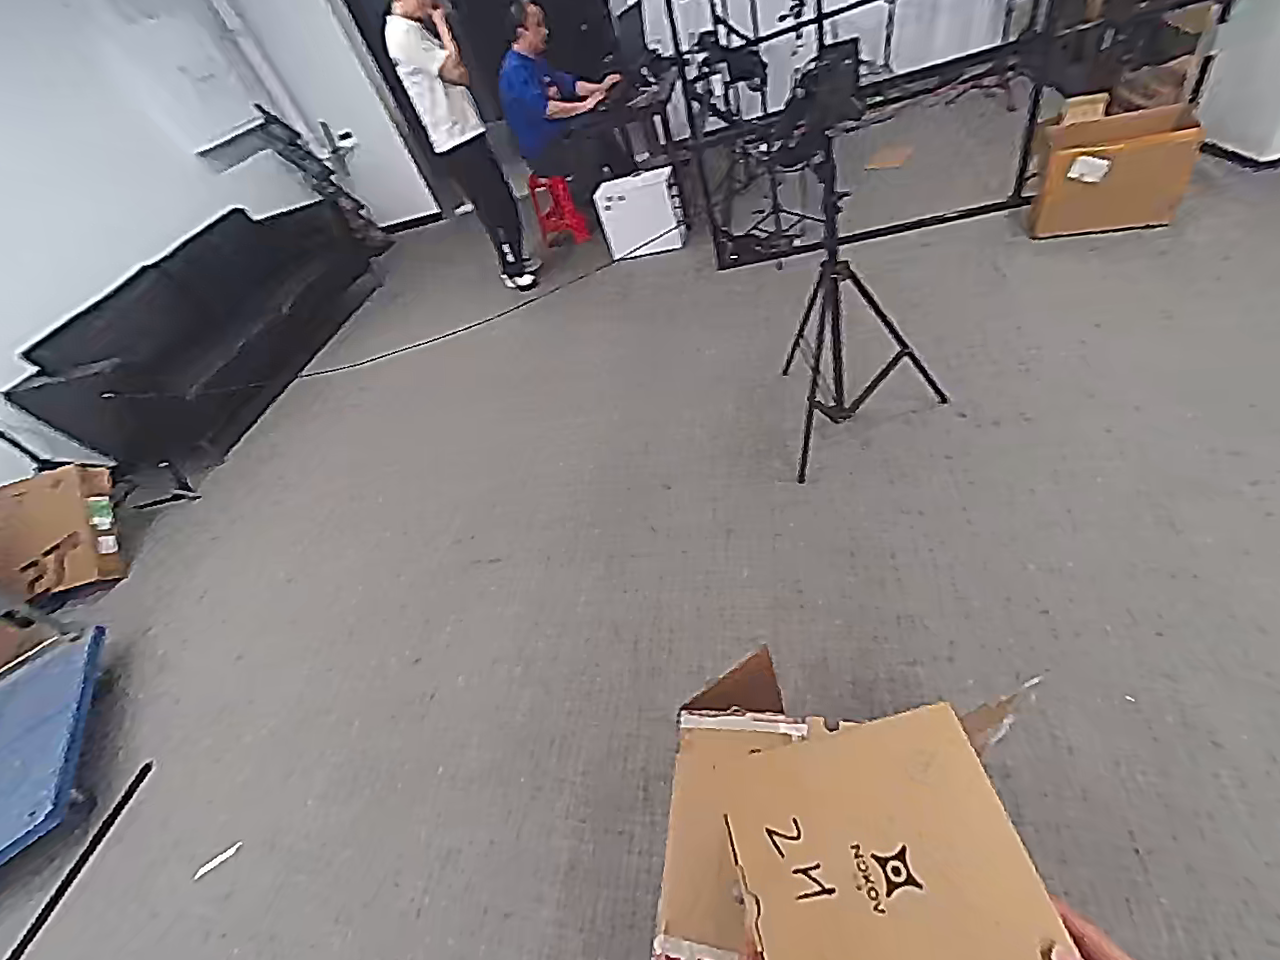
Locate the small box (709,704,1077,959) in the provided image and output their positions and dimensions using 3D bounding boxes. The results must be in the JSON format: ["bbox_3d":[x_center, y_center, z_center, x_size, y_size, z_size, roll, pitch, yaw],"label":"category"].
[{"bbox_3d":[0.161,0.283,0.400,0.179,0.176,0.168,-17,56,3],"label":"small box"}]
